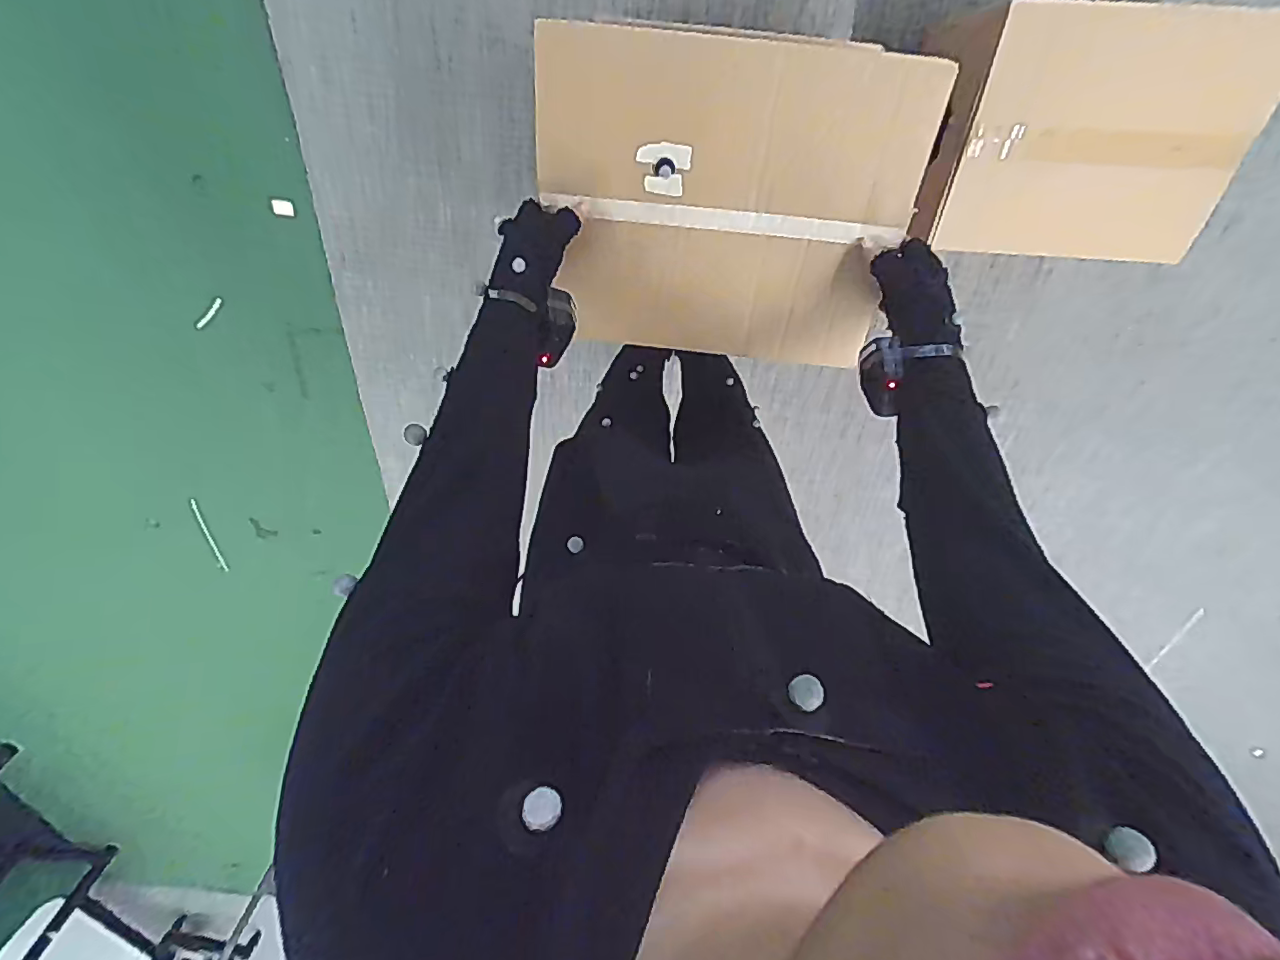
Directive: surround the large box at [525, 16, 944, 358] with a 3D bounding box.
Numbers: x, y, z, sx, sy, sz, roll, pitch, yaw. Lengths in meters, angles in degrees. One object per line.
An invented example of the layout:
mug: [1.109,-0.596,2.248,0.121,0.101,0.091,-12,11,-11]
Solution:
large box: [0.092,-0.386,0.713,0.408,0.320,0.320,7,127,1]
